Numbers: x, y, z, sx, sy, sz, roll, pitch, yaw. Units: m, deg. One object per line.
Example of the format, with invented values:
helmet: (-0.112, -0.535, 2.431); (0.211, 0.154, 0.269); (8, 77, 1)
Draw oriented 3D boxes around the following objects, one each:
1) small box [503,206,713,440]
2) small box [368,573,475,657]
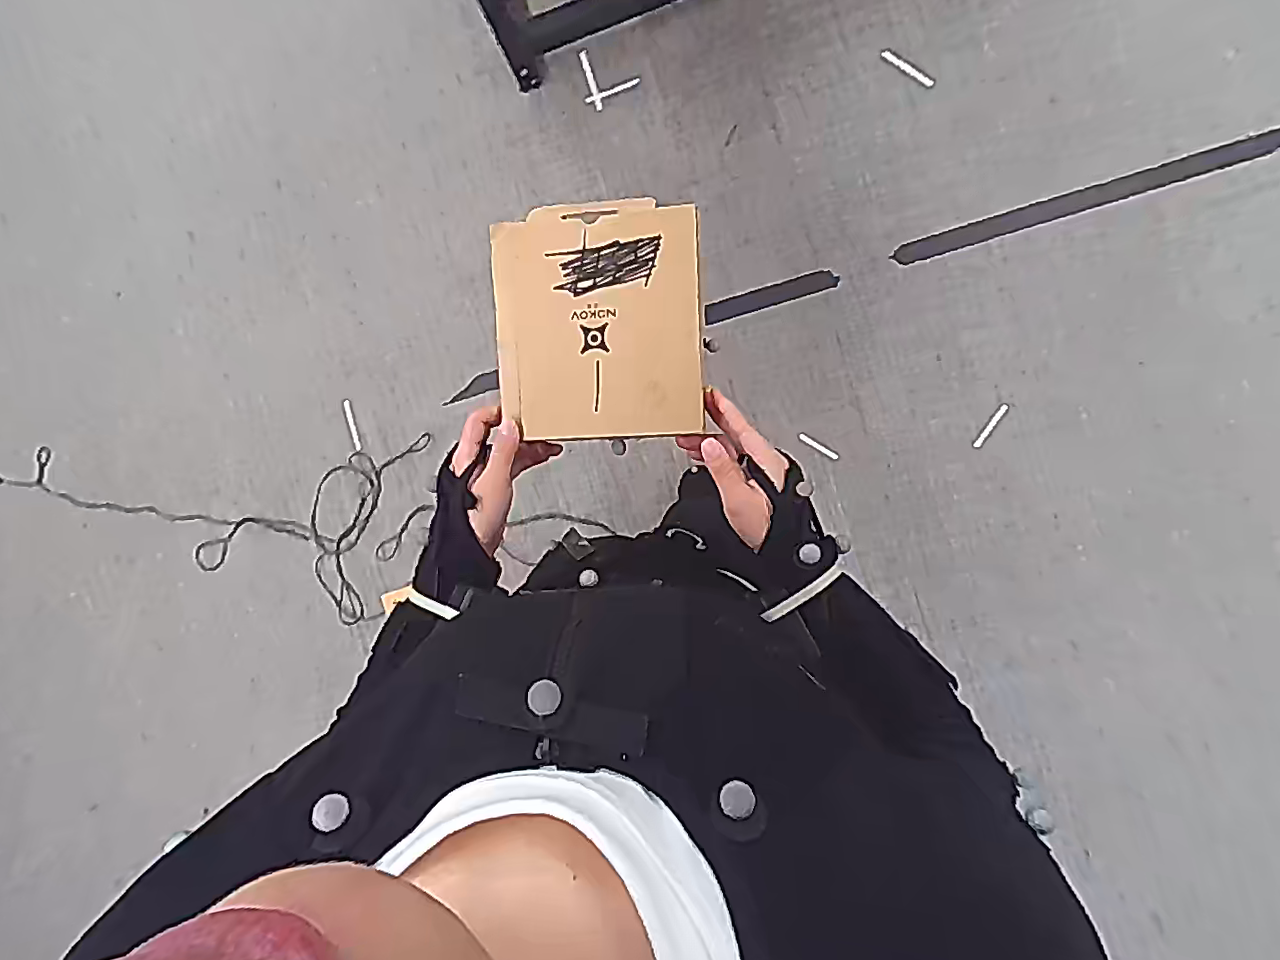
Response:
small box: (-0.017, -0.127, 0.505); (0.168, 0.176, 0.179); (-1, 95, 9)
small box: (-0.513, 0.317, 1.286); (0.179, 0.176, 0.168); (10, 79, -4)
